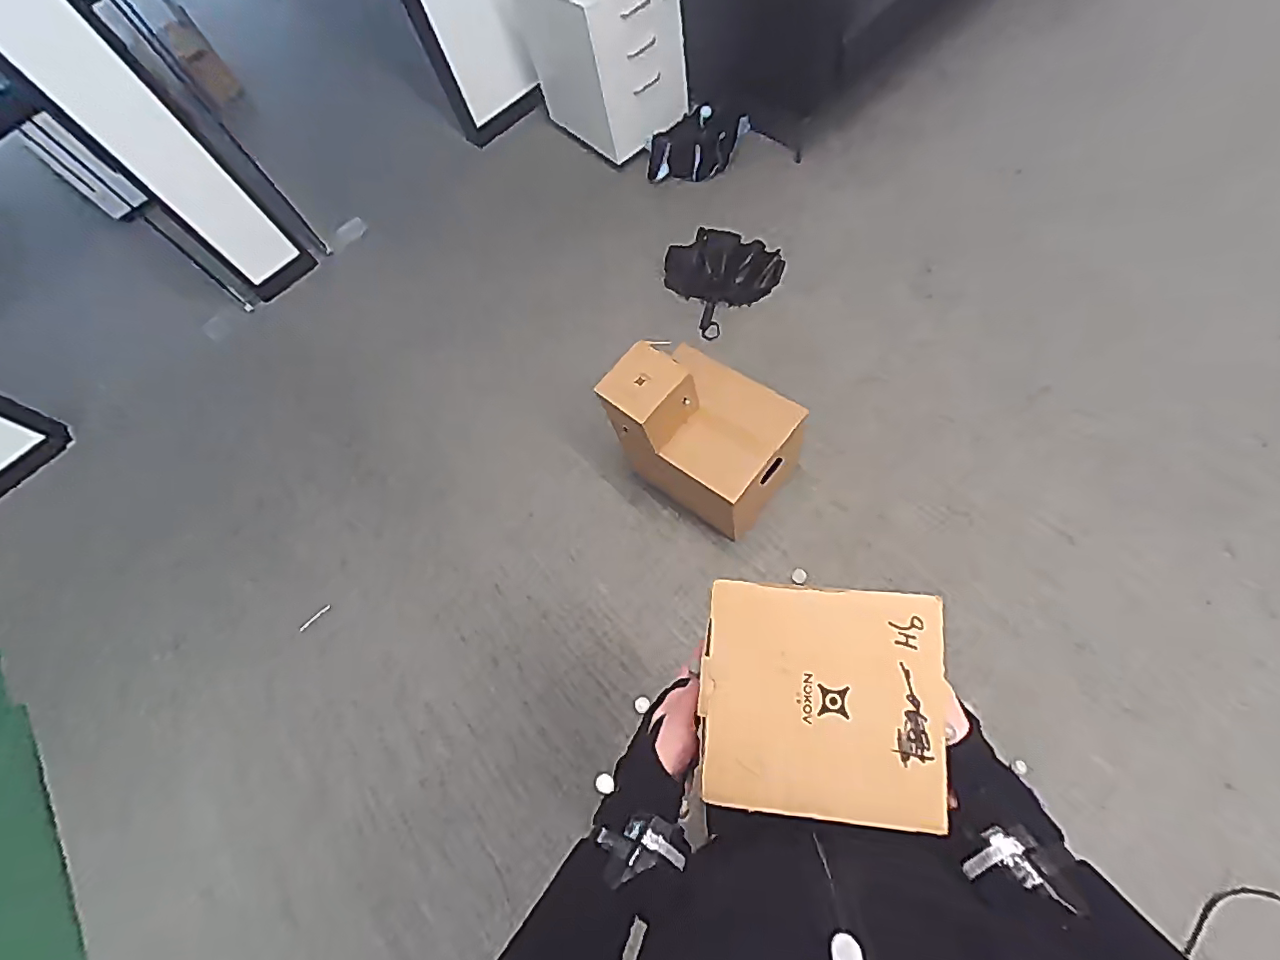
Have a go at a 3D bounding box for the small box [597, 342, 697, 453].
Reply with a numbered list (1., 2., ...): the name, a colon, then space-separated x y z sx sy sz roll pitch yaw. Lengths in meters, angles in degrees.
1. small box: 0.027 -0.199 1.339 0.168 0.176 0.179 37 82 25
